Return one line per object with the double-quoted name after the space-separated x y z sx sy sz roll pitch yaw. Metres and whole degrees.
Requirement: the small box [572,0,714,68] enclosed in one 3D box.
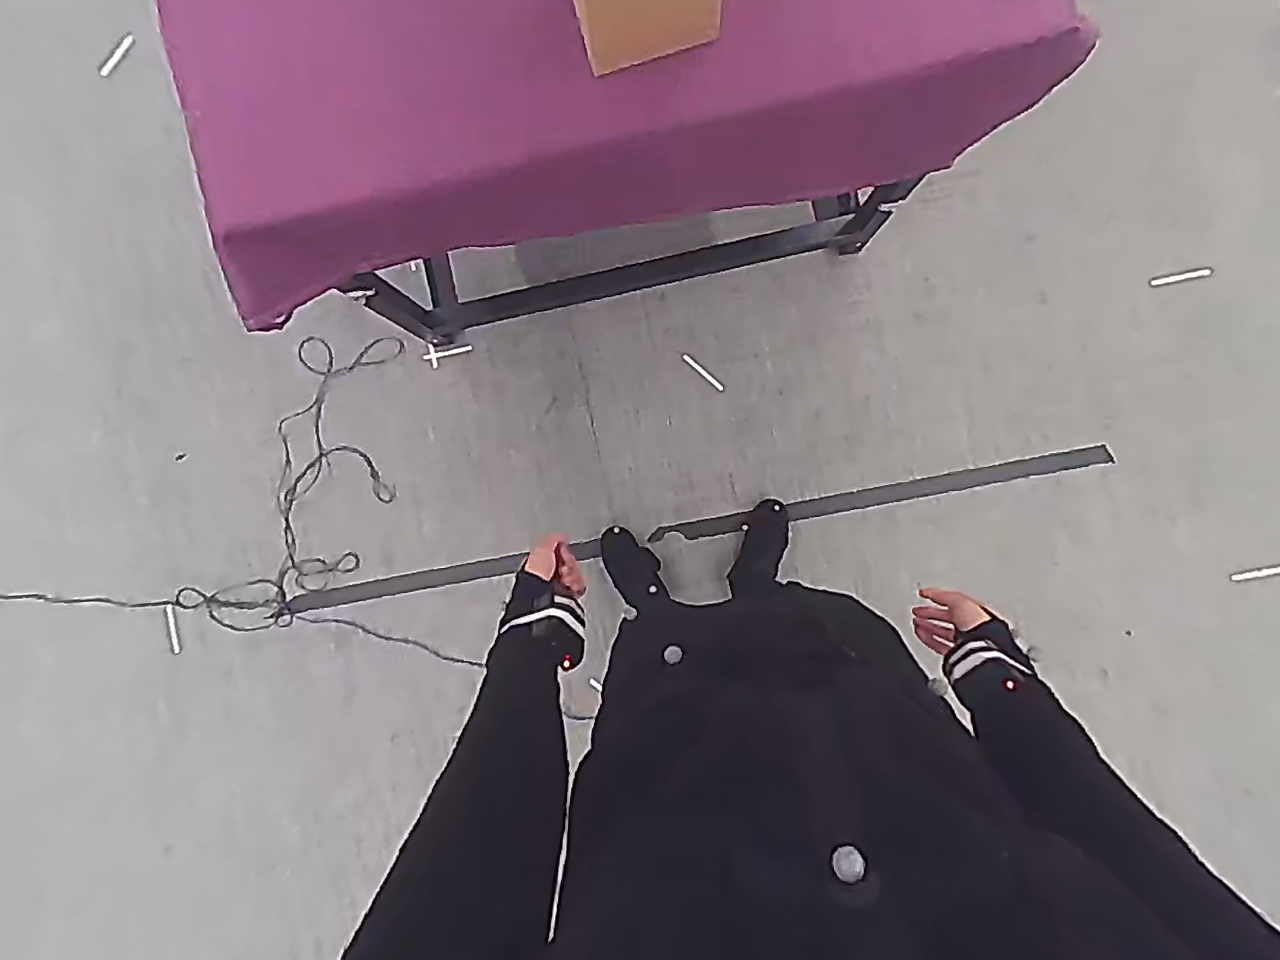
-0.008 -0.649 0.650 0.179 0.176 0.168 -16 89 1 "small box"
